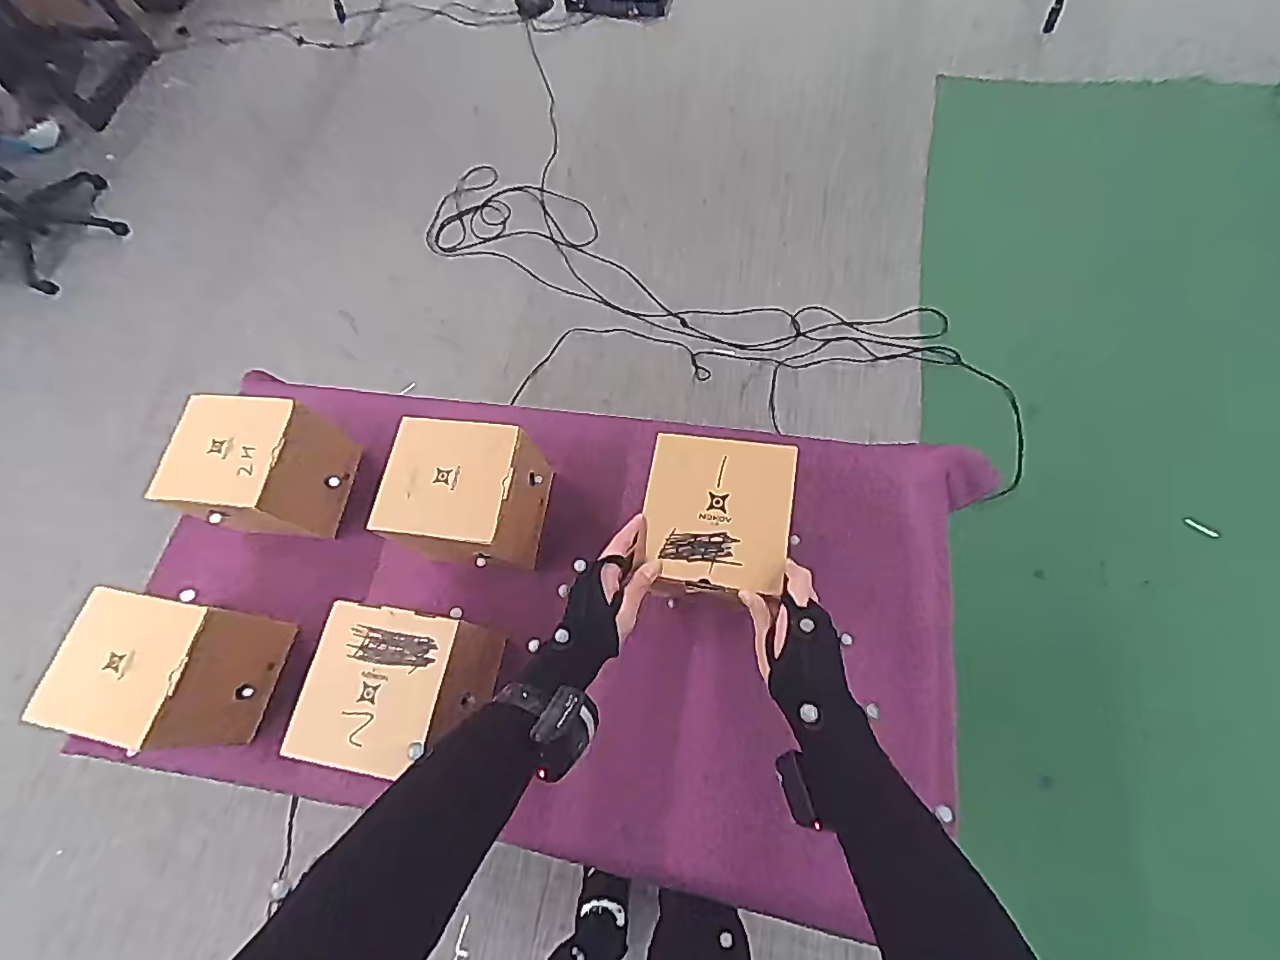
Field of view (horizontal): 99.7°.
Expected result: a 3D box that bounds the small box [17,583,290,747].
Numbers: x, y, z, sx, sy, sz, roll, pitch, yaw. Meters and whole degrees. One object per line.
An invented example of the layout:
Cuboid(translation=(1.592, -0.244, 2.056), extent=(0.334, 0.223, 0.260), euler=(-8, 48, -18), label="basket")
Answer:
Cuboid(translation=(-0.629, 0.249, 0.726), extent=(0.179, 0.176, 0.168), euler=(8, 68, 9), label="small box")

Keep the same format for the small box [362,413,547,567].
Cuboid(translation=(-0.247, 0.021, 0.773), extent=(0.179, 0.176, 0.168), euler=(6, 69, 10), label="small box")

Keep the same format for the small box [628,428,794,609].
Cuboid(translation=(0.095, 0.055, 0.672), extent=(0.168, 0.176, 0.179), euler=(7, 71, 13), label="small box")

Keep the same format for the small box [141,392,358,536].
Cuboid(translation=(-0.578, -0.018, 0.826), extent=(0.179, 0.176, 0.168), euler=(4, 70, 8), label="small box")
